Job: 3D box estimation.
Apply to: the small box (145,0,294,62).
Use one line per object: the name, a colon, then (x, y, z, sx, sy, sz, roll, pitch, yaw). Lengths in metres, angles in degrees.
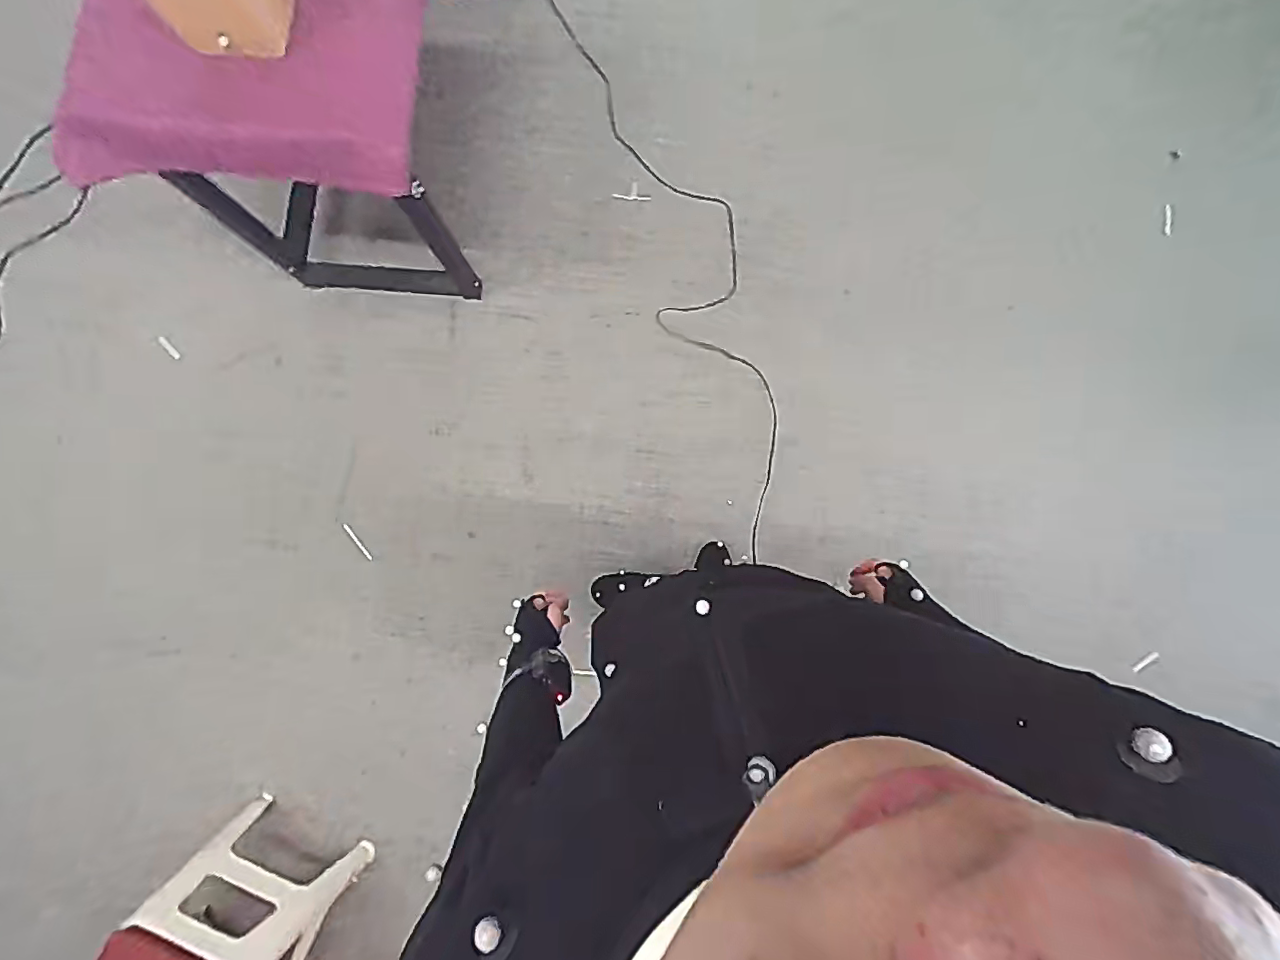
small box: (-0.754, -0.887, 0.959, 0.179, 0.176, 0.168, 4, 83, 0)
